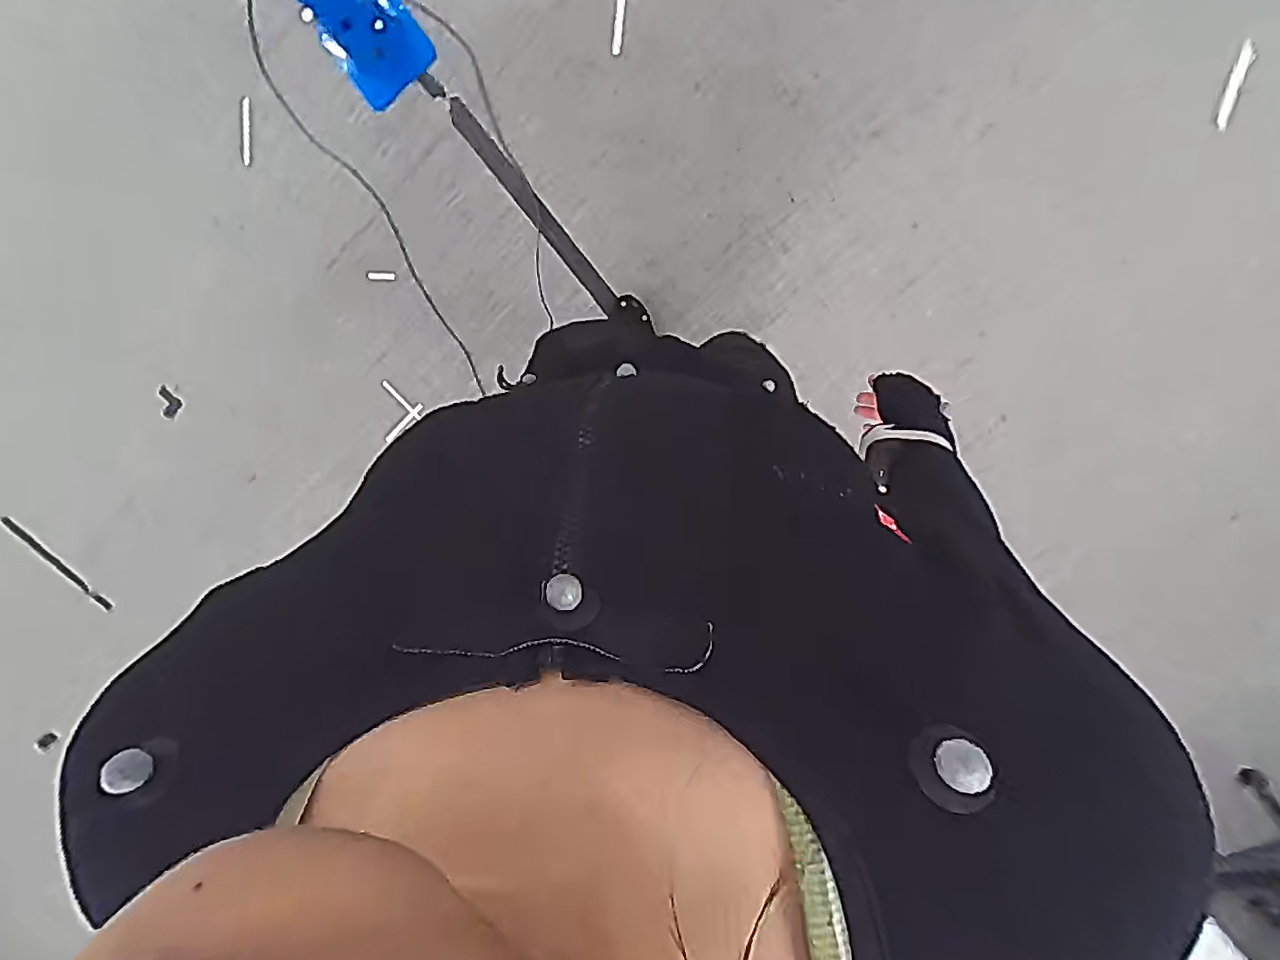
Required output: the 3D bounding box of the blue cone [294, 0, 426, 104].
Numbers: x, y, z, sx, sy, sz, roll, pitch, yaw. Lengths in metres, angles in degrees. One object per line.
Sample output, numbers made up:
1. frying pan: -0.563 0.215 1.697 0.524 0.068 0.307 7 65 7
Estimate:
1. blue cone: -0.588 -0.903 1.027 0.193 0.380 0.192 -35 104 14
